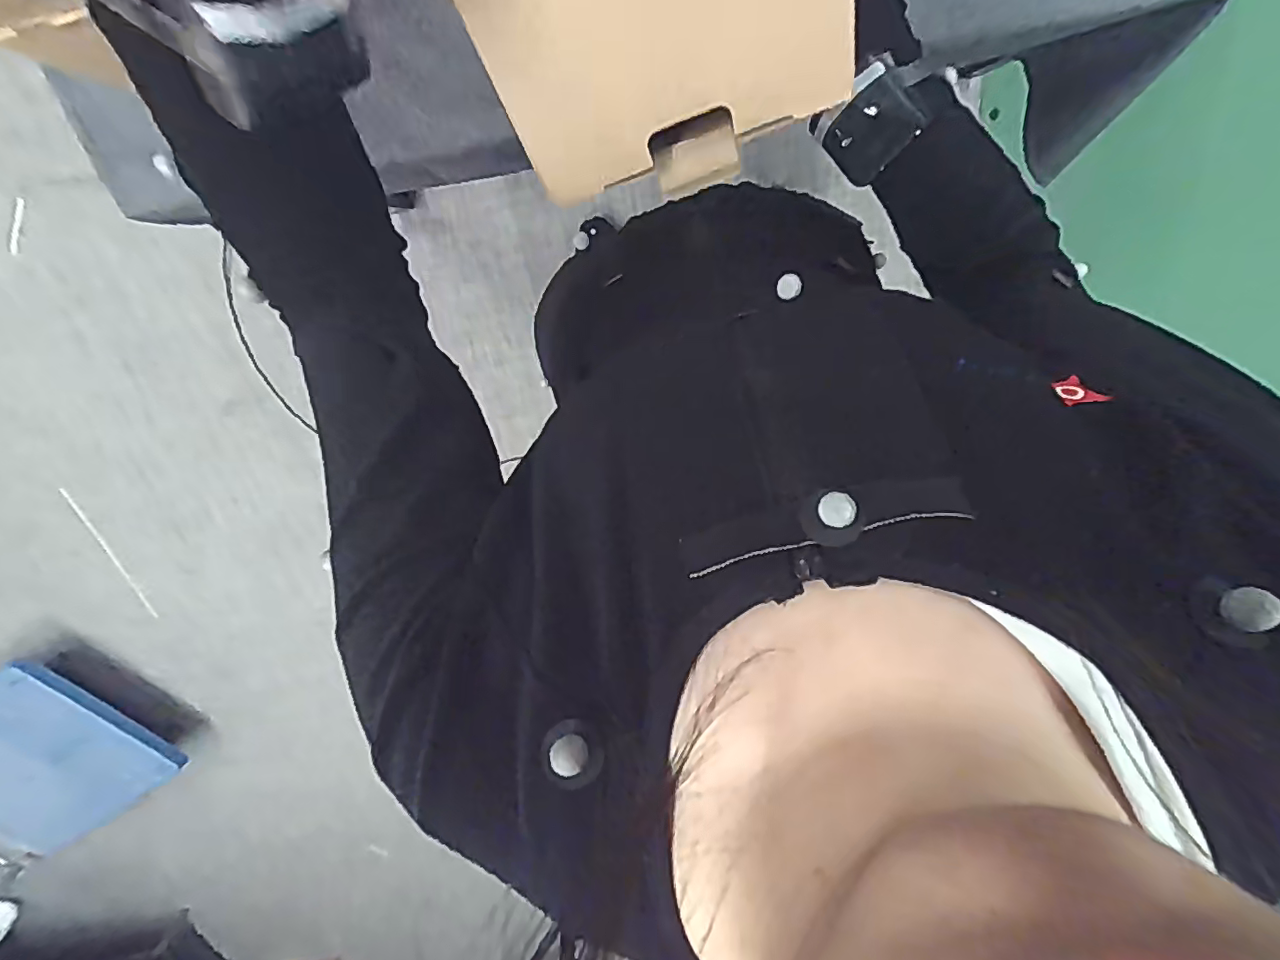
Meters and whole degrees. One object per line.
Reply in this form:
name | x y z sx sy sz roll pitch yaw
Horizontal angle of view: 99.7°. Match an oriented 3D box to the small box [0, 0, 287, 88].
small box | -0.444 -0.461 0.444 0.168 0.176 0.179 -12 115 3
